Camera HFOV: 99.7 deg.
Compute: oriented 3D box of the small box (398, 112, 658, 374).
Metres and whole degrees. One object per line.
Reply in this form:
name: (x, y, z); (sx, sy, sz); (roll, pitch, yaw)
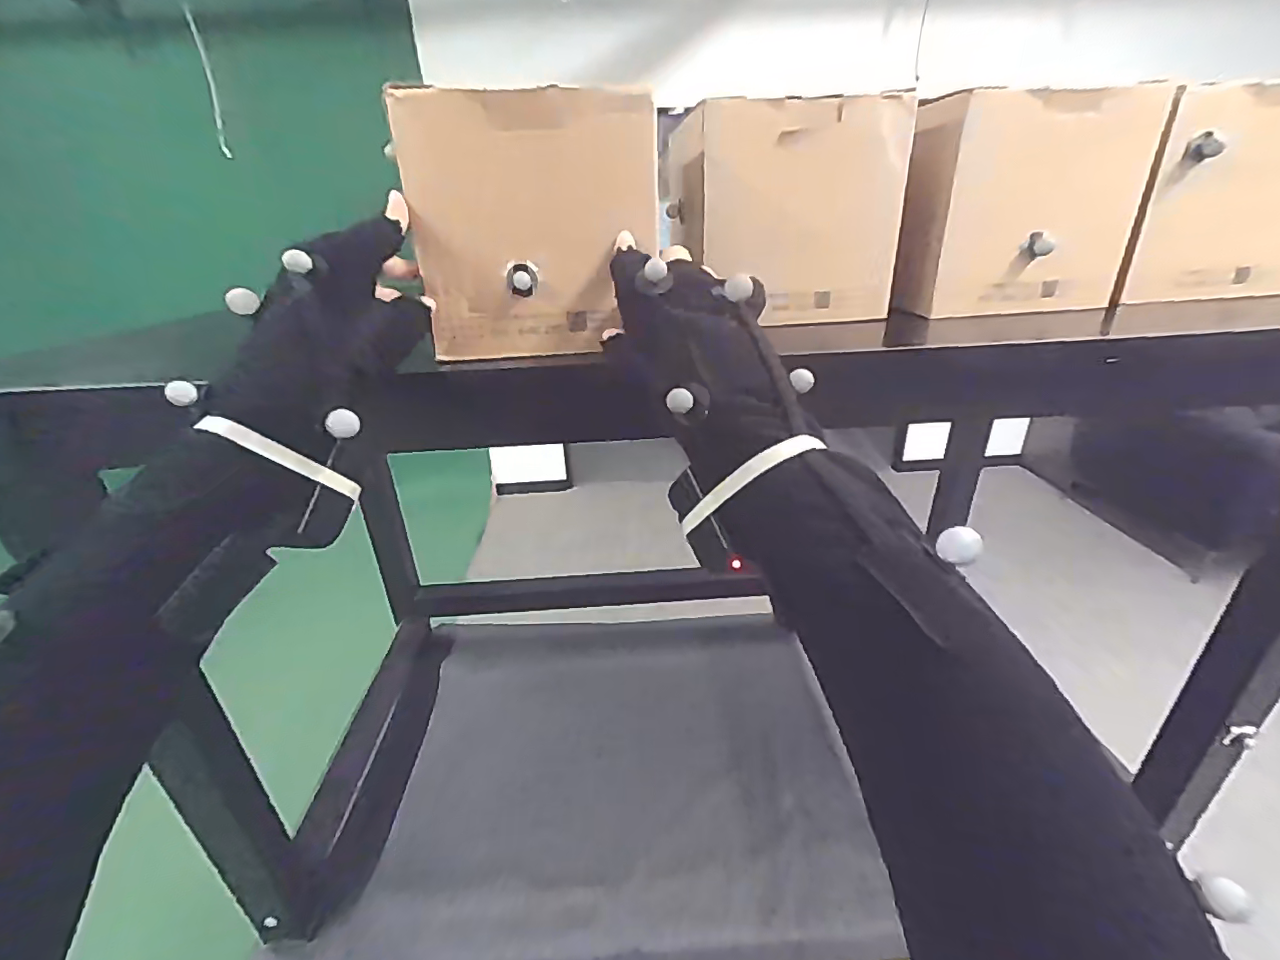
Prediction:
small box: (-0.079, -0.190, 0.450); (0.168, 0.176, 0.179); (-6, 26, -6)
